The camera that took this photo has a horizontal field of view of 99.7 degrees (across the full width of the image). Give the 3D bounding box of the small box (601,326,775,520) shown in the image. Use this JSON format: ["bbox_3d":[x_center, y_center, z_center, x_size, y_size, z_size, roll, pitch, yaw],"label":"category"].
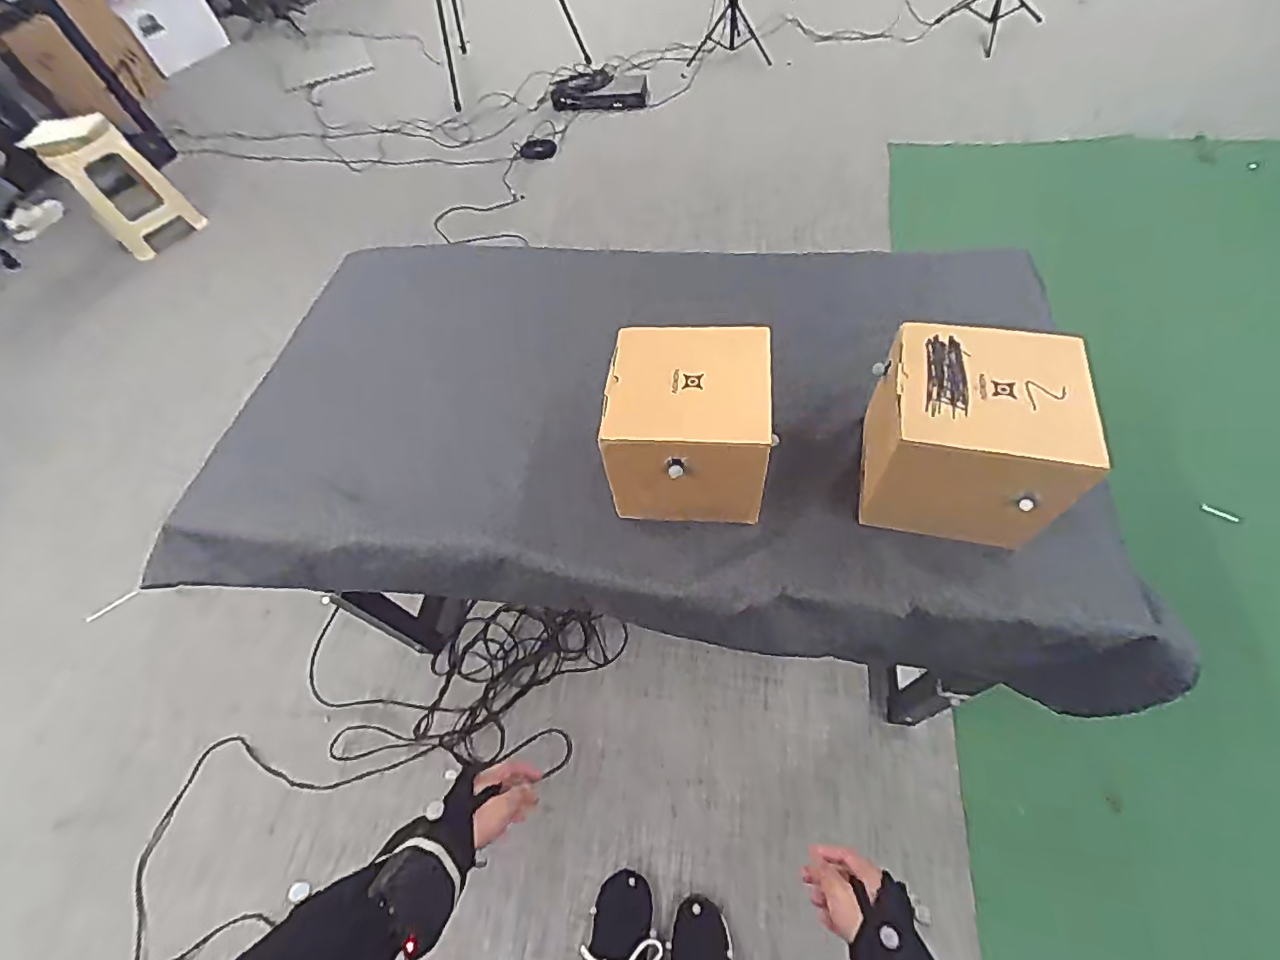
[{"bbox_3d":[0.063,-0.062,0.645,0.179,0.176,0.168,2,58,9],"label":"small box"}]
